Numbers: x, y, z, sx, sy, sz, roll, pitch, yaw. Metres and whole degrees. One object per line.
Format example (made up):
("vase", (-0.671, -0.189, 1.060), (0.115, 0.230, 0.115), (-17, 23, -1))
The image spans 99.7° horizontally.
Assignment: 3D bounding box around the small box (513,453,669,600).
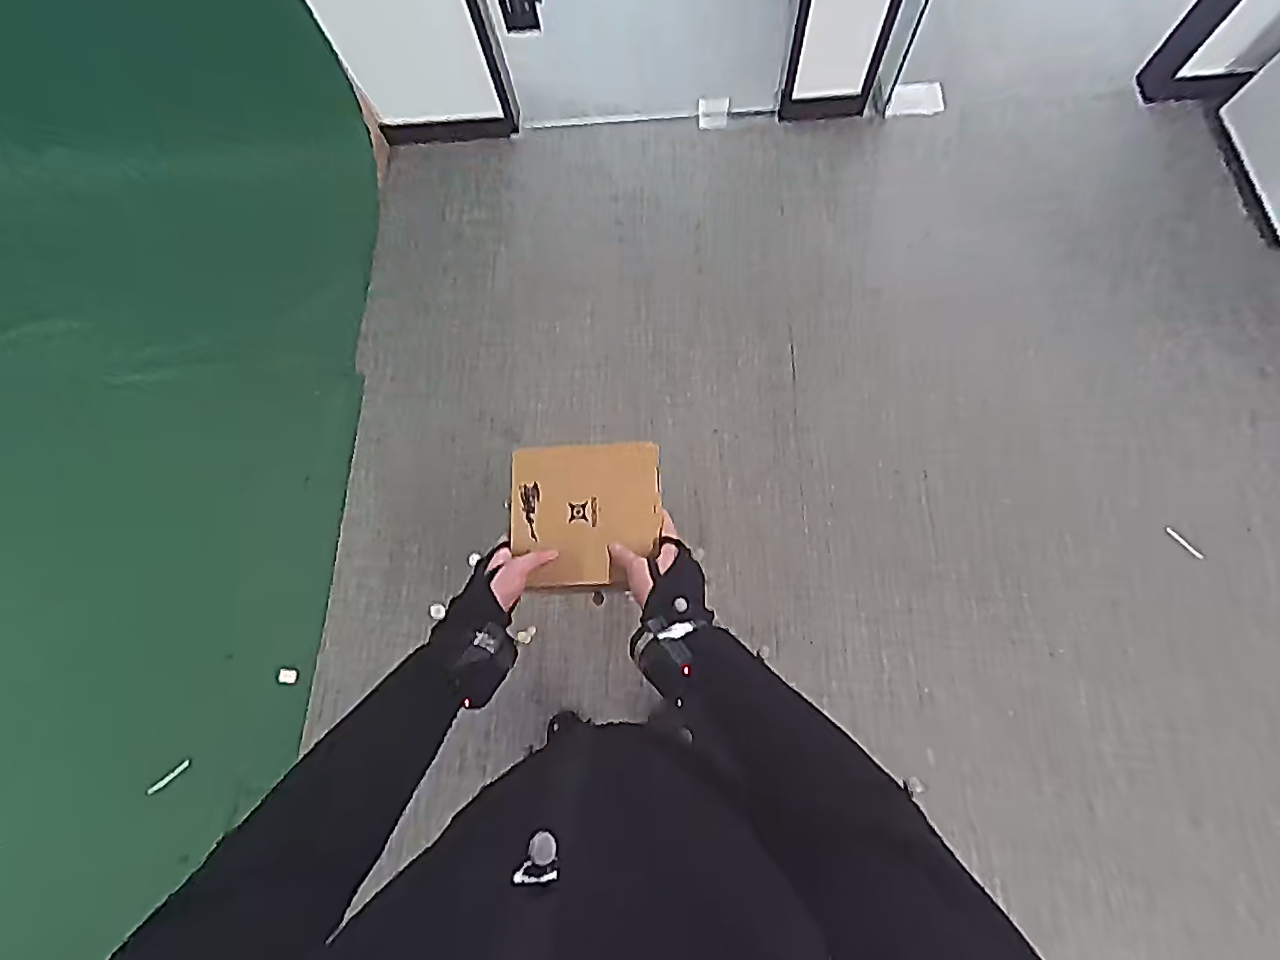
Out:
("small box", (-0.058, 0.067, 0.703), (0.179, 0.176, 0.168), (-2, 75, 0))
